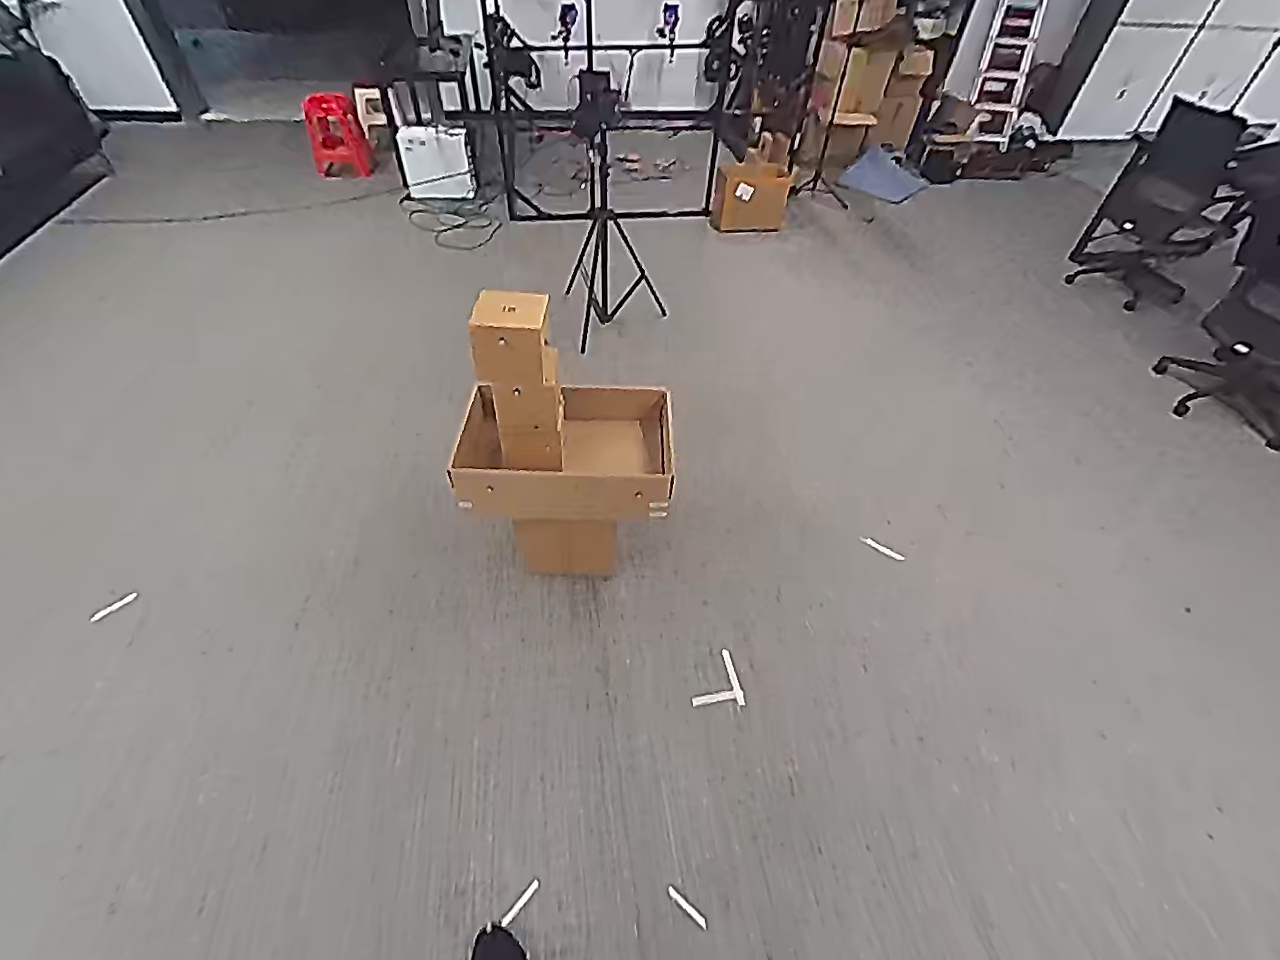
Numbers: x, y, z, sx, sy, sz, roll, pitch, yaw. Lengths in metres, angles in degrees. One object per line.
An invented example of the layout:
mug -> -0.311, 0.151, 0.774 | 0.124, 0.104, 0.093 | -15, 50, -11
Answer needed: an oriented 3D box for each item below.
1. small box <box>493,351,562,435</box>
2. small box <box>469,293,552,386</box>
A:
small box -> -0.306, -0.245, 1.508 | 0.168, 0.176, 0.179 | 0, 46, -5
small box -> -0.322, -0.357, 1.388 | 0.179, 0.176, 0.168 | 2, 47, -2
